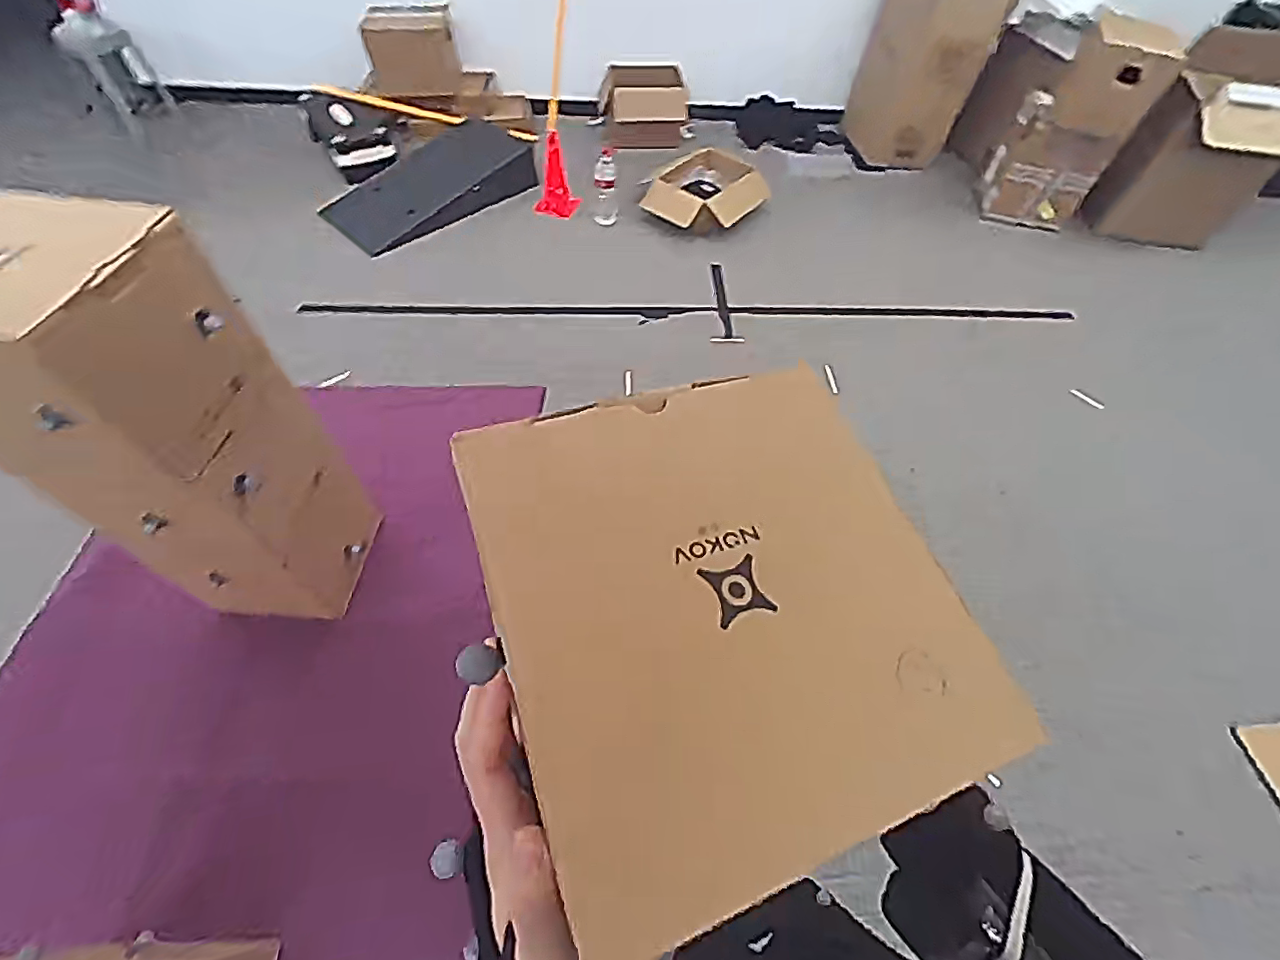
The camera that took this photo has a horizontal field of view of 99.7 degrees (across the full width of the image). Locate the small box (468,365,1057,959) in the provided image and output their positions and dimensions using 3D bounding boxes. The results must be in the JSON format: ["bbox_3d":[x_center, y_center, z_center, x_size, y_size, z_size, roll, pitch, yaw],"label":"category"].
[{"bbox_3d":[0.027,0.077,0.263,0.168,0.176,0.179,-14,63,-17],"label":"small box"}]

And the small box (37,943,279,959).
[{"bbox_3d":[-0.444,0.492,0.435,0.179,0.176,0.168,1,55,-3],"label":"small box"}]

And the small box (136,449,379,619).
[{"bbox_3d":[-0.487,0.077,0.725,0.179,0.176,0.168,4,56,0],"label":"small box"}]

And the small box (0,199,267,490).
[{"bbox_3d":[-0.469,-0.107,0.455,0.179,0.176,0.168,5,54,2],"label":"small box"}]
